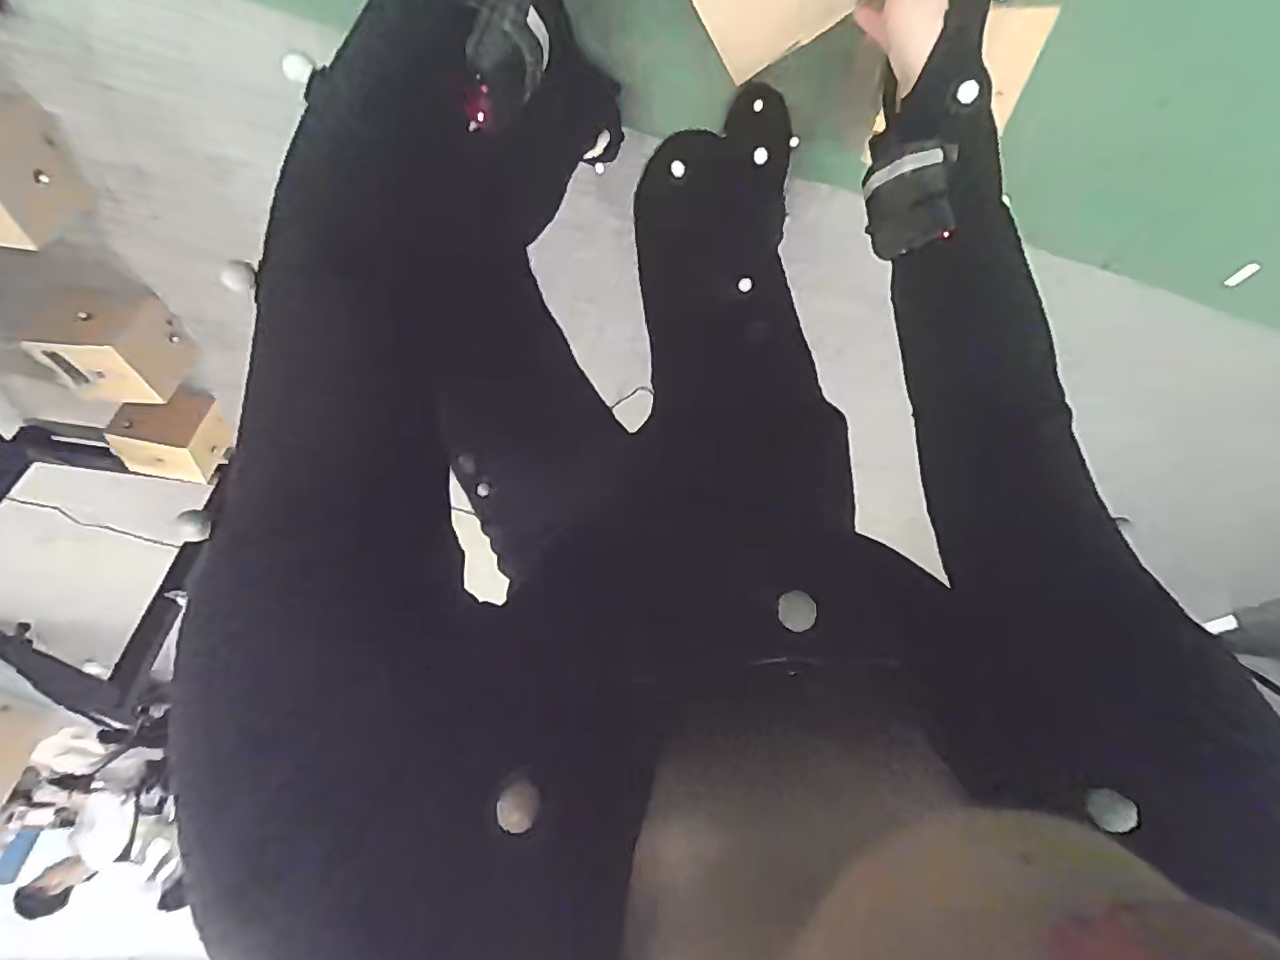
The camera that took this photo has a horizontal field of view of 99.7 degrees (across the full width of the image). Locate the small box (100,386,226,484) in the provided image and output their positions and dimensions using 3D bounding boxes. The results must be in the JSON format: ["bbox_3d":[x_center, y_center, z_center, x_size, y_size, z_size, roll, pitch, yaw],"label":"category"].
[{"bbox_3d":[-1.198,-0.116,1.381,0.179,0.176,0.168,13,144,-15],"label":"small box"}]

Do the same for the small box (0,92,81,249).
[{"bbox_3d":[-1.038,-0.491,0.836,0.179,0.176,0.168,7,144,-8],"label":"small box"}]

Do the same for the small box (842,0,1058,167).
[{"bbox_3d":[0.389,-0.544,0.723,0.179,0.176,0.168,0,145,0],"label":"small box"}]

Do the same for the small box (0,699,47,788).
[{"bbox_3d":[-1.248,0.479,0.958,0.179,0.176,0.168,2,145,-2],"label":"small box"}]
